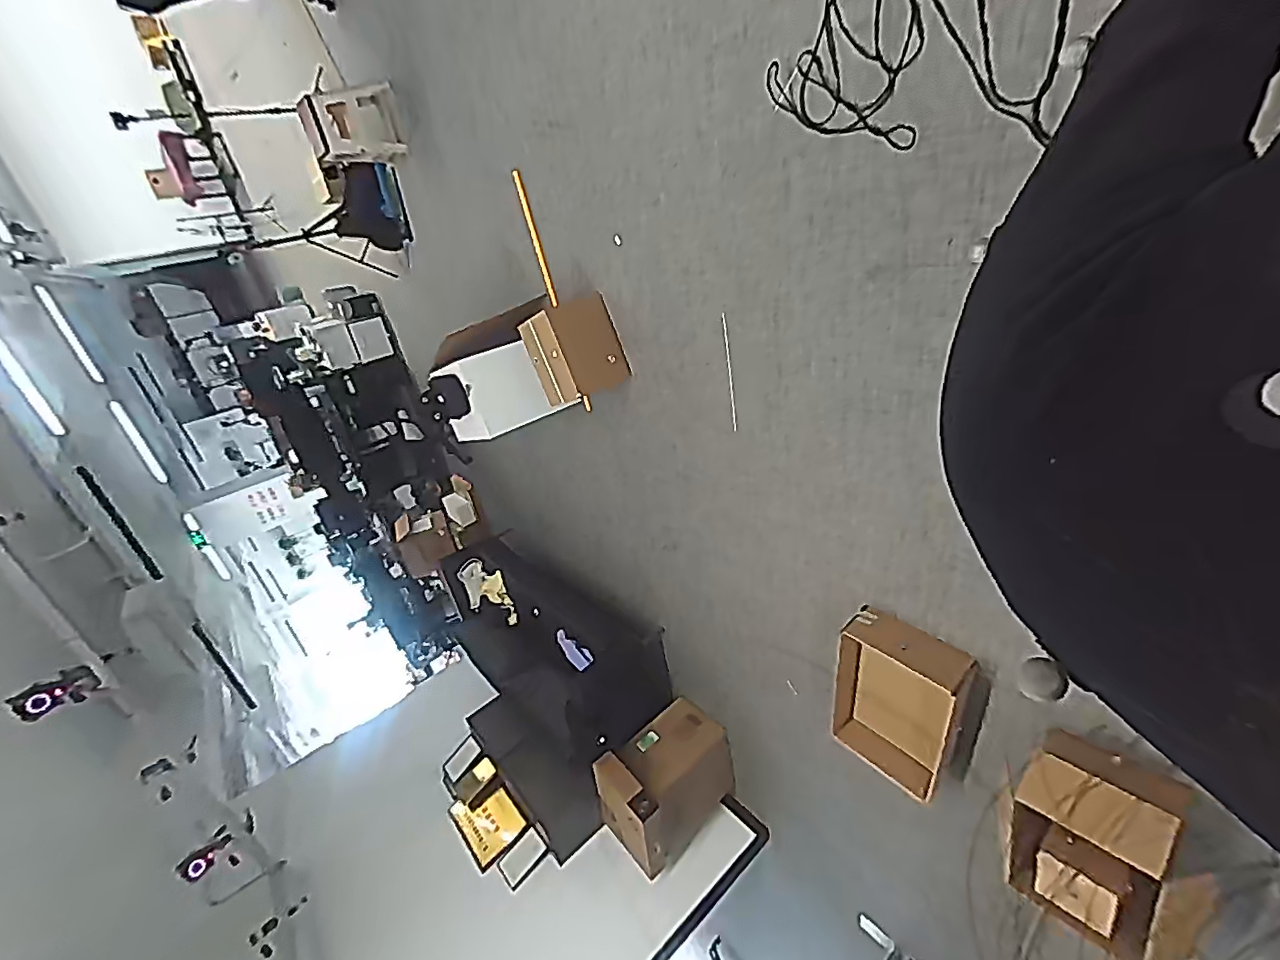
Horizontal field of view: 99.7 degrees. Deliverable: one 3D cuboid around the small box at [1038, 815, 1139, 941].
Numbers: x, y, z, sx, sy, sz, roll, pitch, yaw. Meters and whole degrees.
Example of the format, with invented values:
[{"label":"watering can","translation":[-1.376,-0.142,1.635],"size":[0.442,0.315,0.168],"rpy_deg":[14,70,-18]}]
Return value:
[{"label":"small box","translation":[1.197,1.050,1.443],"size":[0.168,0.176,0.179],"rpy_deg":[17,126,51]}]
